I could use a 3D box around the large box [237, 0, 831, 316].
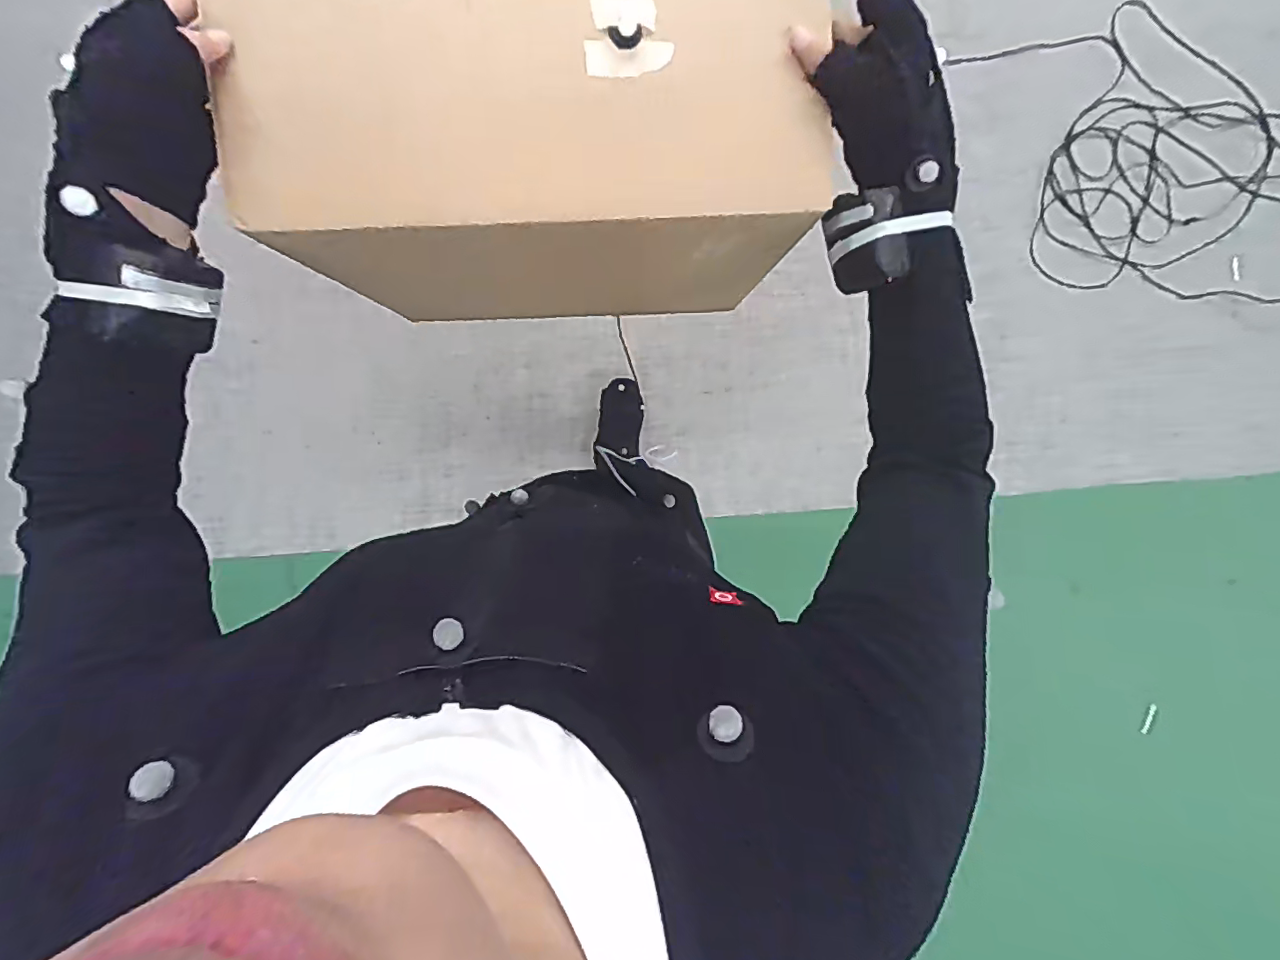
[{"bbox_3d":[-0.078,-0.353,0.513,0.408,0.320,0.320,-3,96,-2],"label":"large box"}]
